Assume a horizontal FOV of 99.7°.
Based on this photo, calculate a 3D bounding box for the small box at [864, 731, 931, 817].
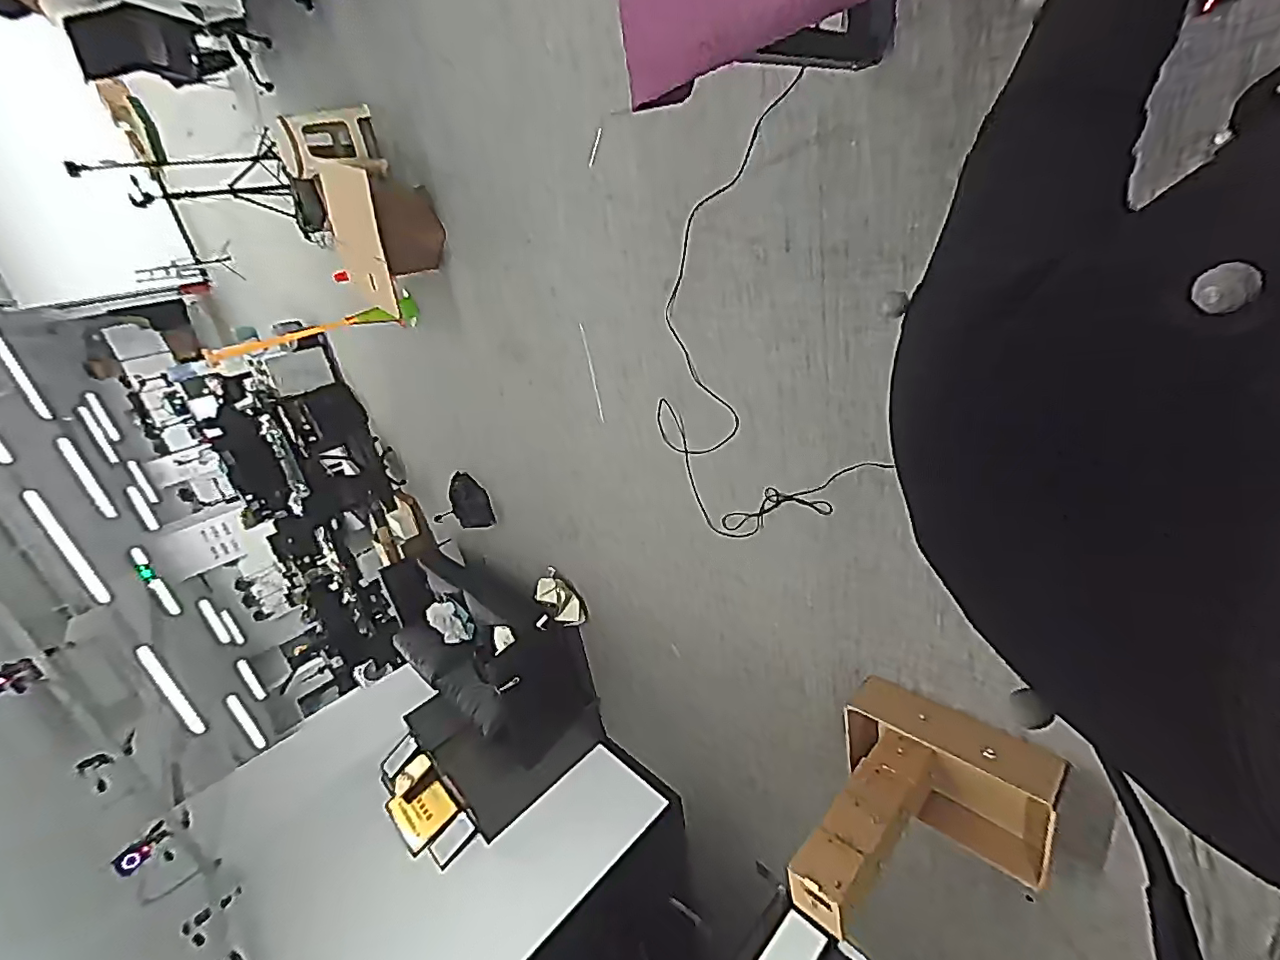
[{"bbox_3d":[0.921,1.038,1.927,0.168,0.176,0.179,7,119,46],"label":"small box"}]

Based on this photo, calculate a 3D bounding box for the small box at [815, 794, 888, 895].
[{"bbox_3d":[0.681,1.161,1.738,0.168,0.176,0.179,15,124,45],"label":"small box"}]

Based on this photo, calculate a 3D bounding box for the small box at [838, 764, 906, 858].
[{"bbox_3d":[0.784,1.109,1.829,0.168,0.176,0.179,13,123,44],"label":"small box"}]
